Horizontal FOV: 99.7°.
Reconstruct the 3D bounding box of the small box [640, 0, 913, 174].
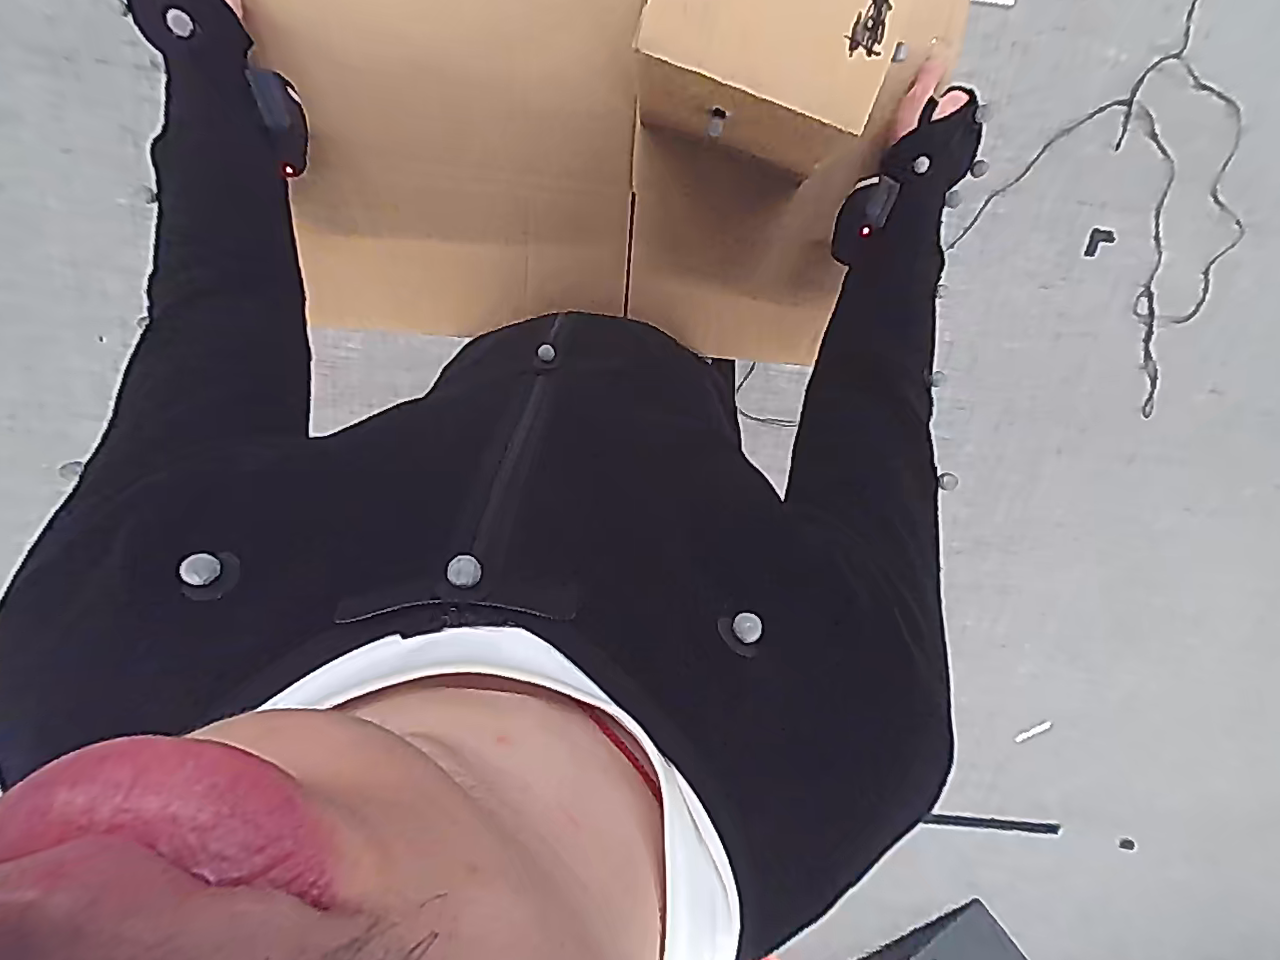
[{"bbox_3d":[0.110,-0.379,0.445,0.179,0.176,0.168,18,108,-3],"label":"small box"}]
